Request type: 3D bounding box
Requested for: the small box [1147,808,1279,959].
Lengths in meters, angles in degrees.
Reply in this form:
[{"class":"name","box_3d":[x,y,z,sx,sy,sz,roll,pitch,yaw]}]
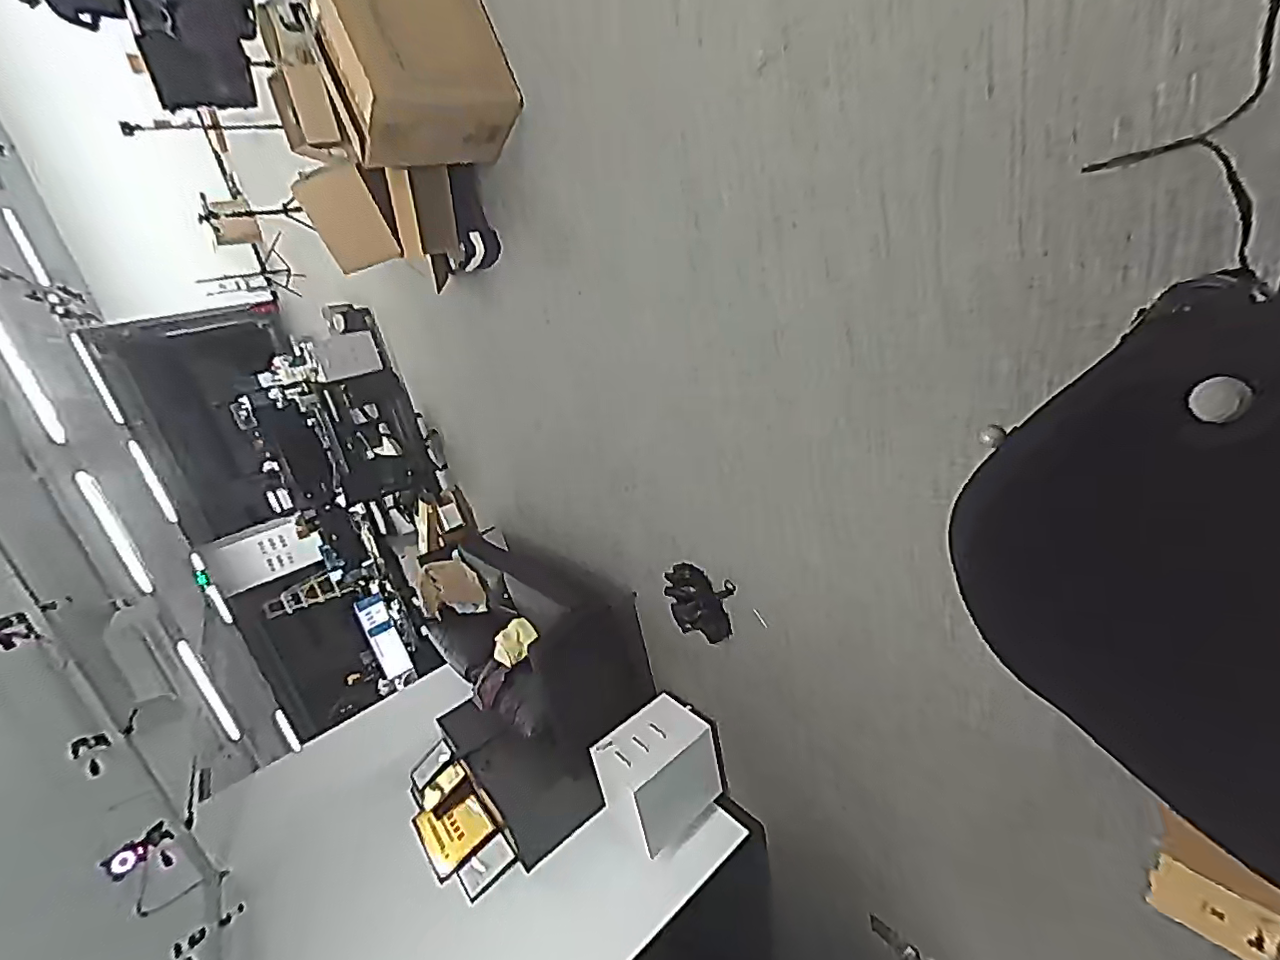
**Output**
[{"class":"small box","box_3d":[1.185,0.812,1.099,0.179,0.176,0.168,19,127,49]}]
